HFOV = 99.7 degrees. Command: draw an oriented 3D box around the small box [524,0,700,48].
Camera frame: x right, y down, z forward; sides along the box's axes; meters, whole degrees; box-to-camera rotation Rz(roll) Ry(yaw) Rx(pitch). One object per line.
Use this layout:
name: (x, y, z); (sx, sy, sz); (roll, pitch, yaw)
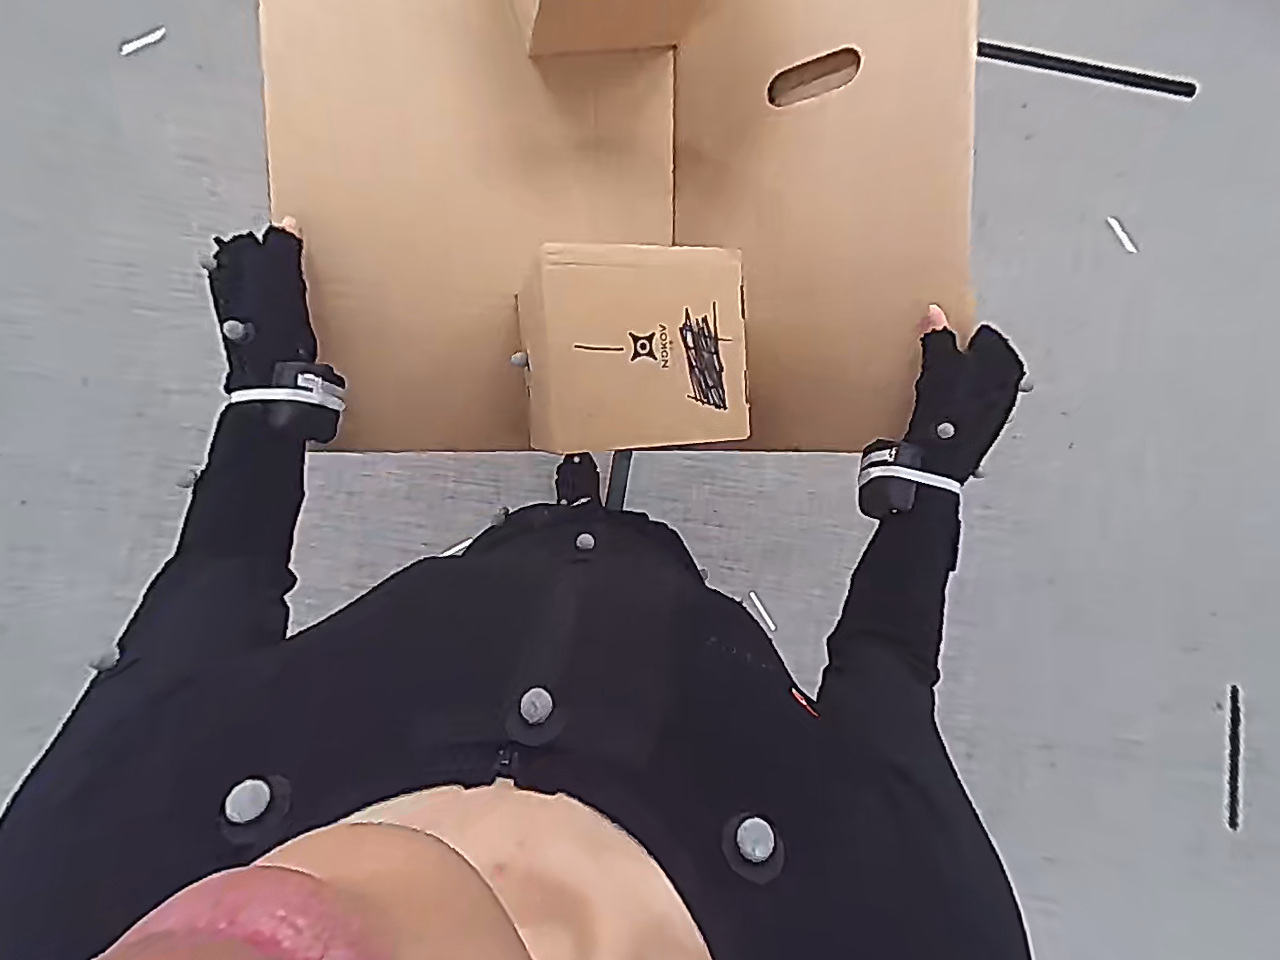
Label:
small box: (-0.025, -0.533, 0.490); (0.179, 0.176, 0.168); (-17, 100, -17)
